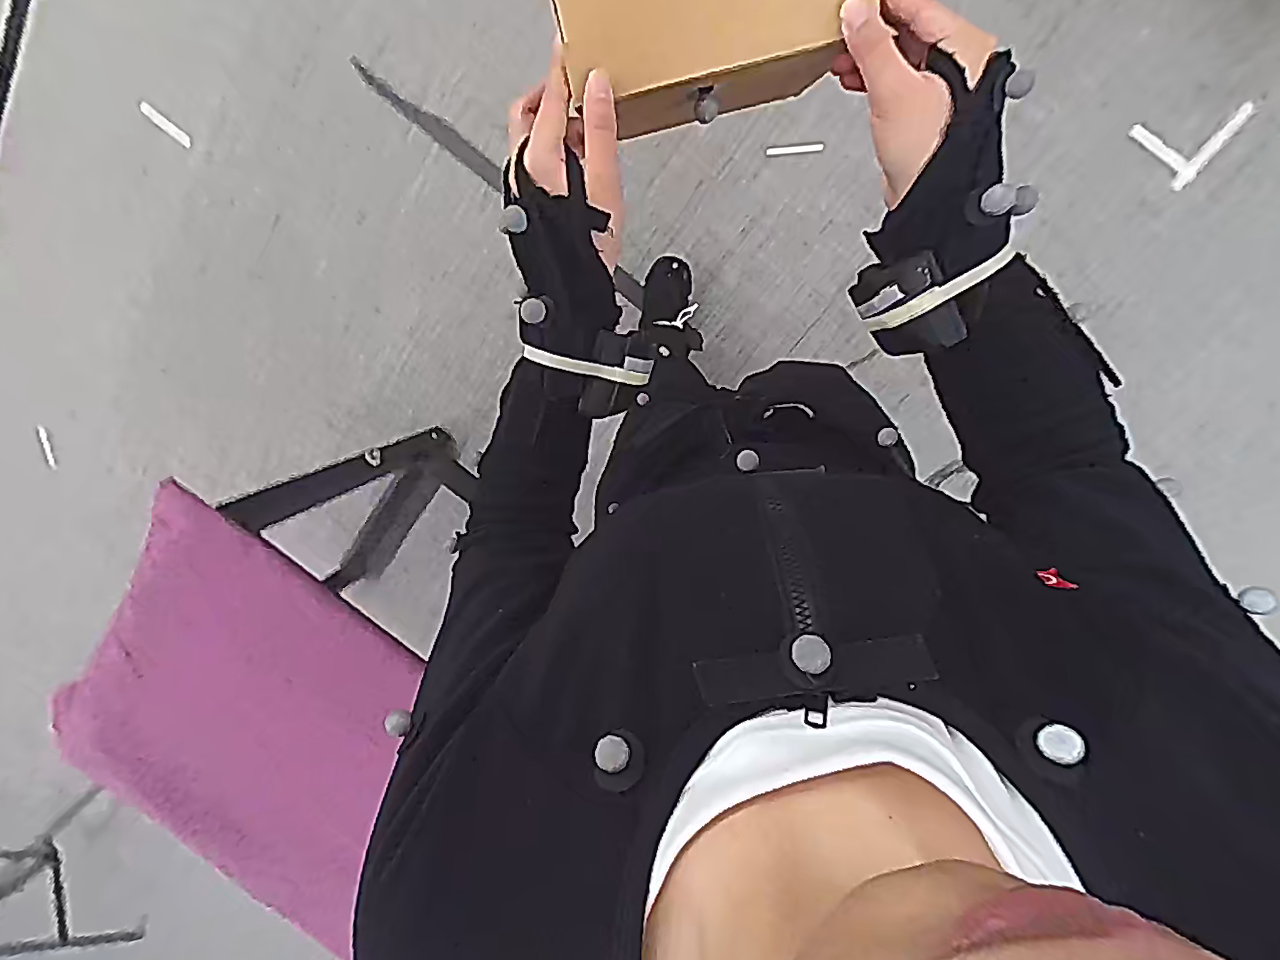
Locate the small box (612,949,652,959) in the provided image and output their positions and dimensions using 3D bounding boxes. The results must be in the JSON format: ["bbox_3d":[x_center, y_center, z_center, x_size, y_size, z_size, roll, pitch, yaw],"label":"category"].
[{"bbox_3d":[-0.026,0.867,0.806,0.168,0.176,0.179,45,106,-4],"label":"small box"}]

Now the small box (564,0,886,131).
[{"bbox_3d":[0.038,-0.344,0.345,0.179,0.176,0.168,-9,115,7],"label":"small box"}]
